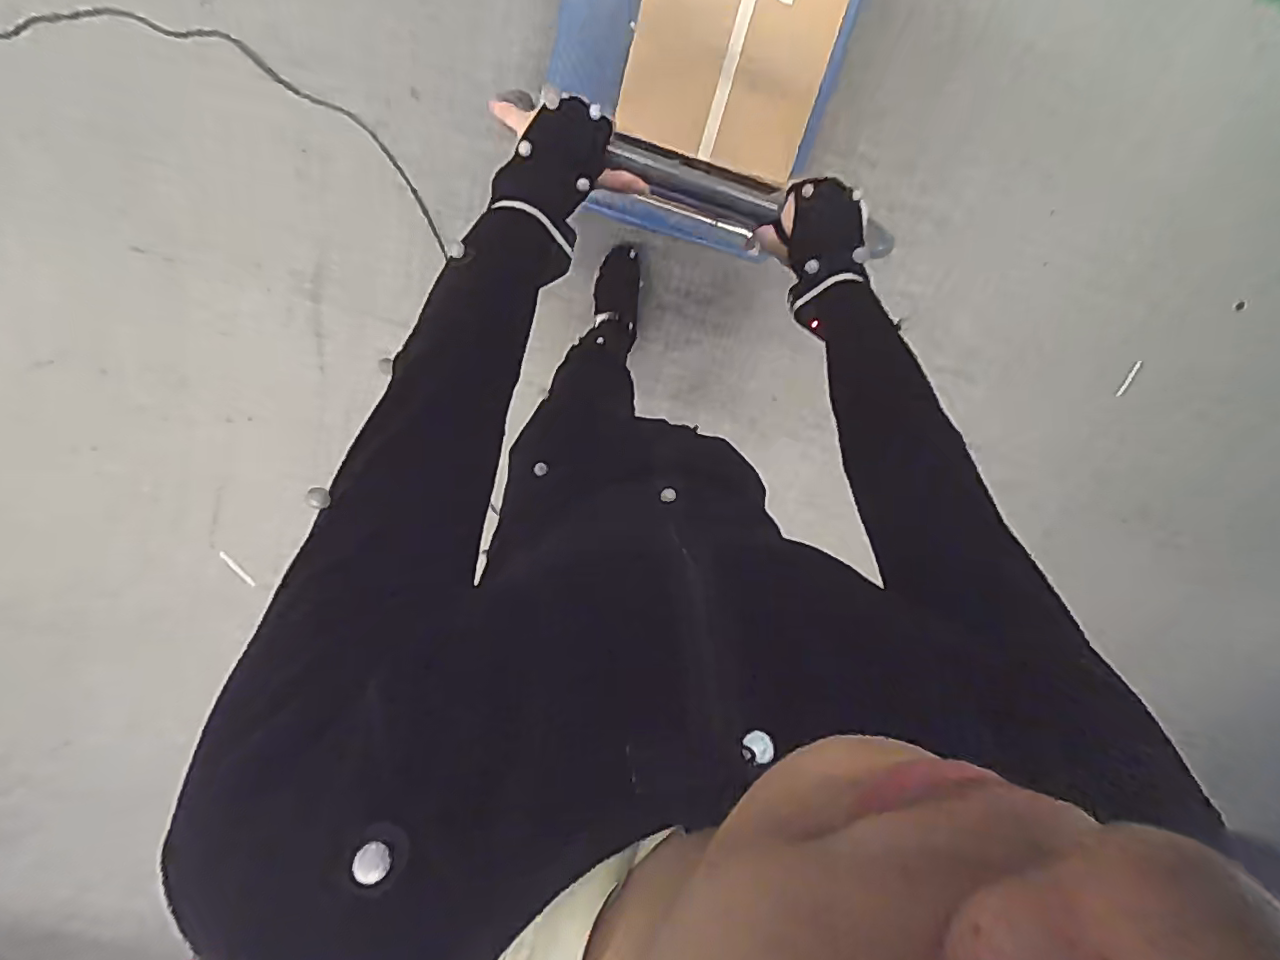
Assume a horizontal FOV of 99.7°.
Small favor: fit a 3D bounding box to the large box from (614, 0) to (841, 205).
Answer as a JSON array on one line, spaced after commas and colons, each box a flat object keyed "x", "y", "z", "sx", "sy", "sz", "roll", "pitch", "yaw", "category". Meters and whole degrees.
[{"x": 0.143, "y": -0.779, "z": 0.998, "sx": 0.320, "sy": 0.320, "sz": 0.408, "roll": 13, "pitch": 109, "yaw": -10, "category": "large box"}]
